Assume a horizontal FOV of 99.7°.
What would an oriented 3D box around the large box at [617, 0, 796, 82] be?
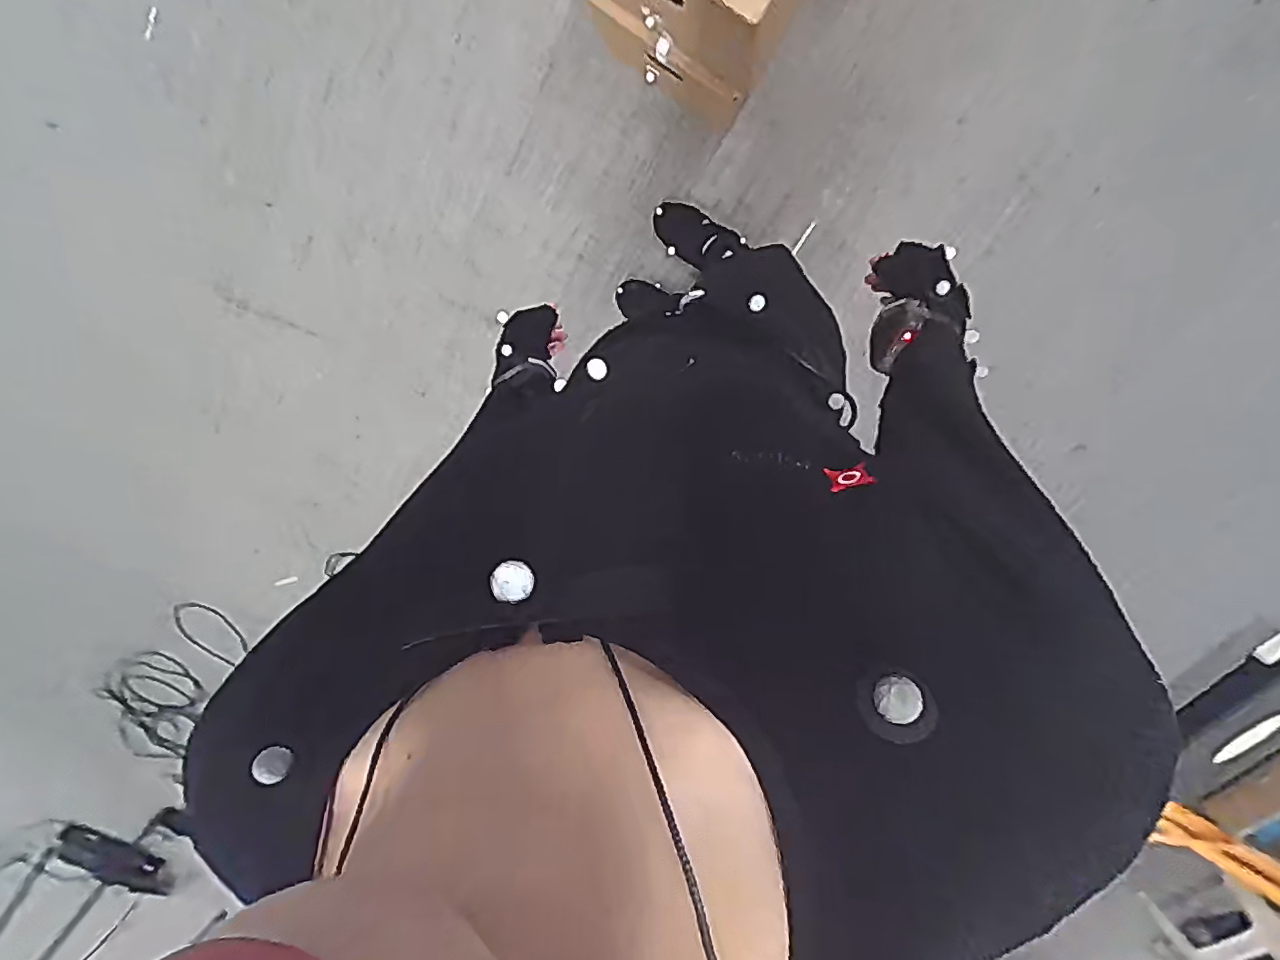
[{"bbox_3d":[0.124,-0.828,0.674,0.320,0.320,0.408,31,114,-4],"label":"large box"}]
